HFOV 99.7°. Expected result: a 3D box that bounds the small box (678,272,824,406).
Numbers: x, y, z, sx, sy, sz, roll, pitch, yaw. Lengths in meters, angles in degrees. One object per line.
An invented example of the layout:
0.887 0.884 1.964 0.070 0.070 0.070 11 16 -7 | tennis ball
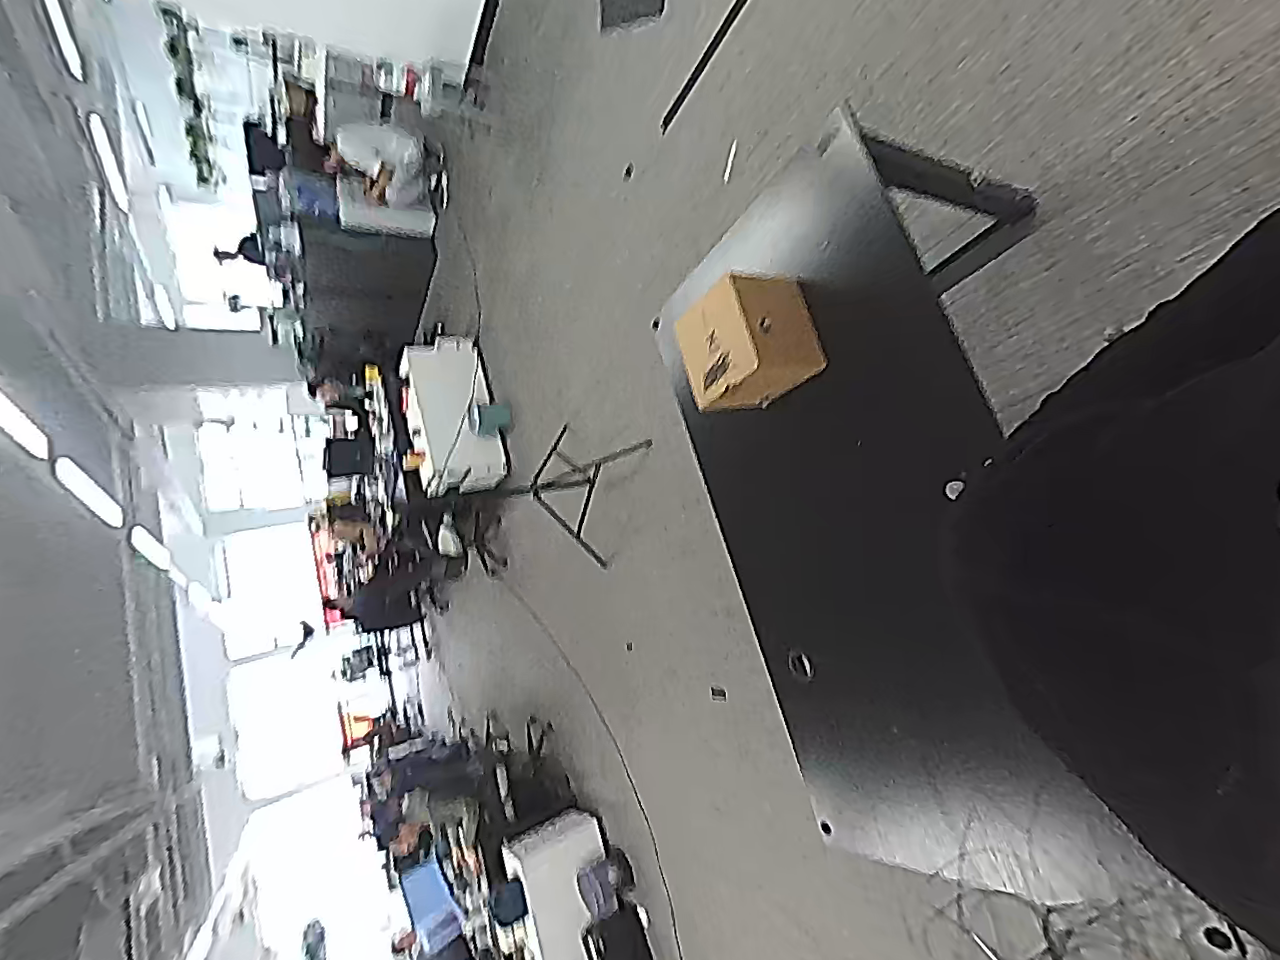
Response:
0.200 -0.250 0.975 0.168 0.176 0.179 -31 71 55 | small box
